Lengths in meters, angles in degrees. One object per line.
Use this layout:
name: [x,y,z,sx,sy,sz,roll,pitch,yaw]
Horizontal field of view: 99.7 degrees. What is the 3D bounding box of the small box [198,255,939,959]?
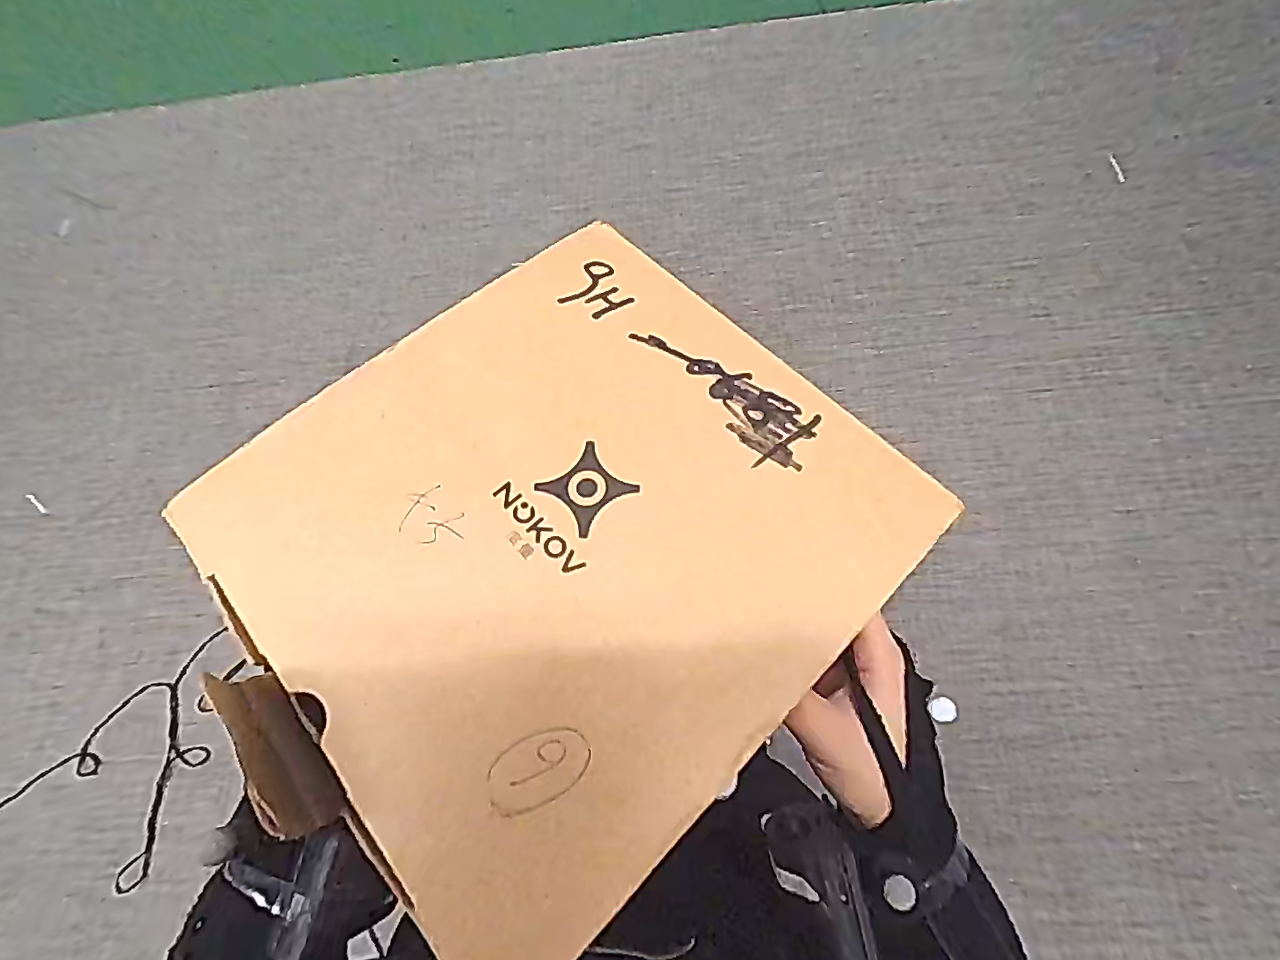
small box: [-0.022,0.050,0.240,0.179,0.176,0.168,-41,72,-16]
